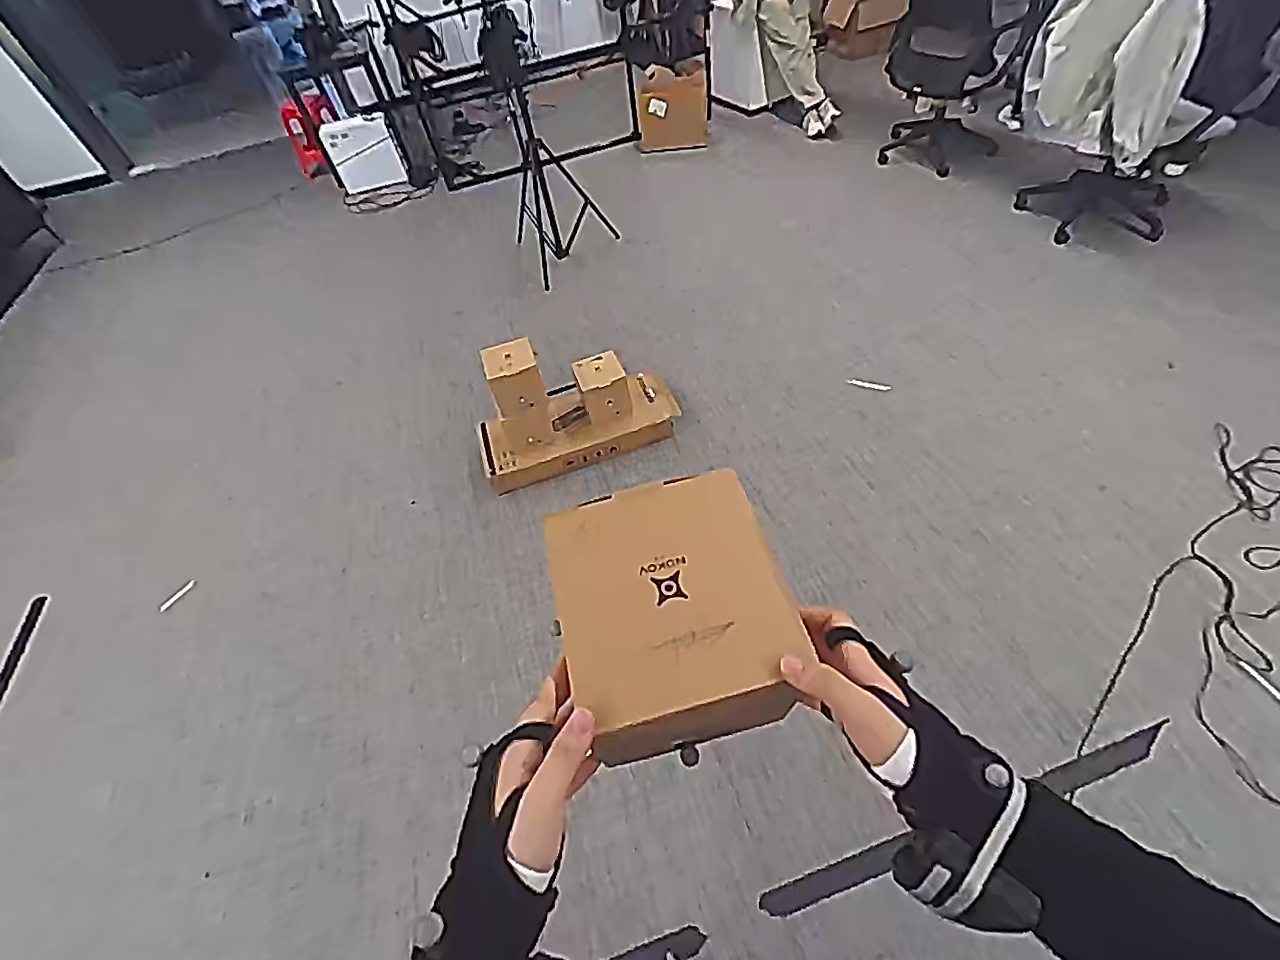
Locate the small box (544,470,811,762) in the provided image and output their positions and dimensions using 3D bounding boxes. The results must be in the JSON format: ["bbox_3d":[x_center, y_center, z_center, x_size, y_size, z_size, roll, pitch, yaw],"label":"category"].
[{"bbox_3d":[0.023,0.122,0.469,0.168,0.176,0.179,-14,56,-4],"label":"small box"}]

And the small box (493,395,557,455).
[{"bbox_3d":[-0.414,-0.221,1.954,0.168,0.176,0.179,-20,51,-8],"label":"small box"}]

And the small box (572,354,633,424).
[{"bbox_3d":[-0.136,-0.327,1.996,0.168,0.176,0.179,-20,50,-7],"label":"small box"}]

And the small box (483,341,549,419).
[{"bbox_3d":[-0.419,-0.337,1.836,0.168,0.176,0.179,-19,50,-6],"label":"small box"}]
